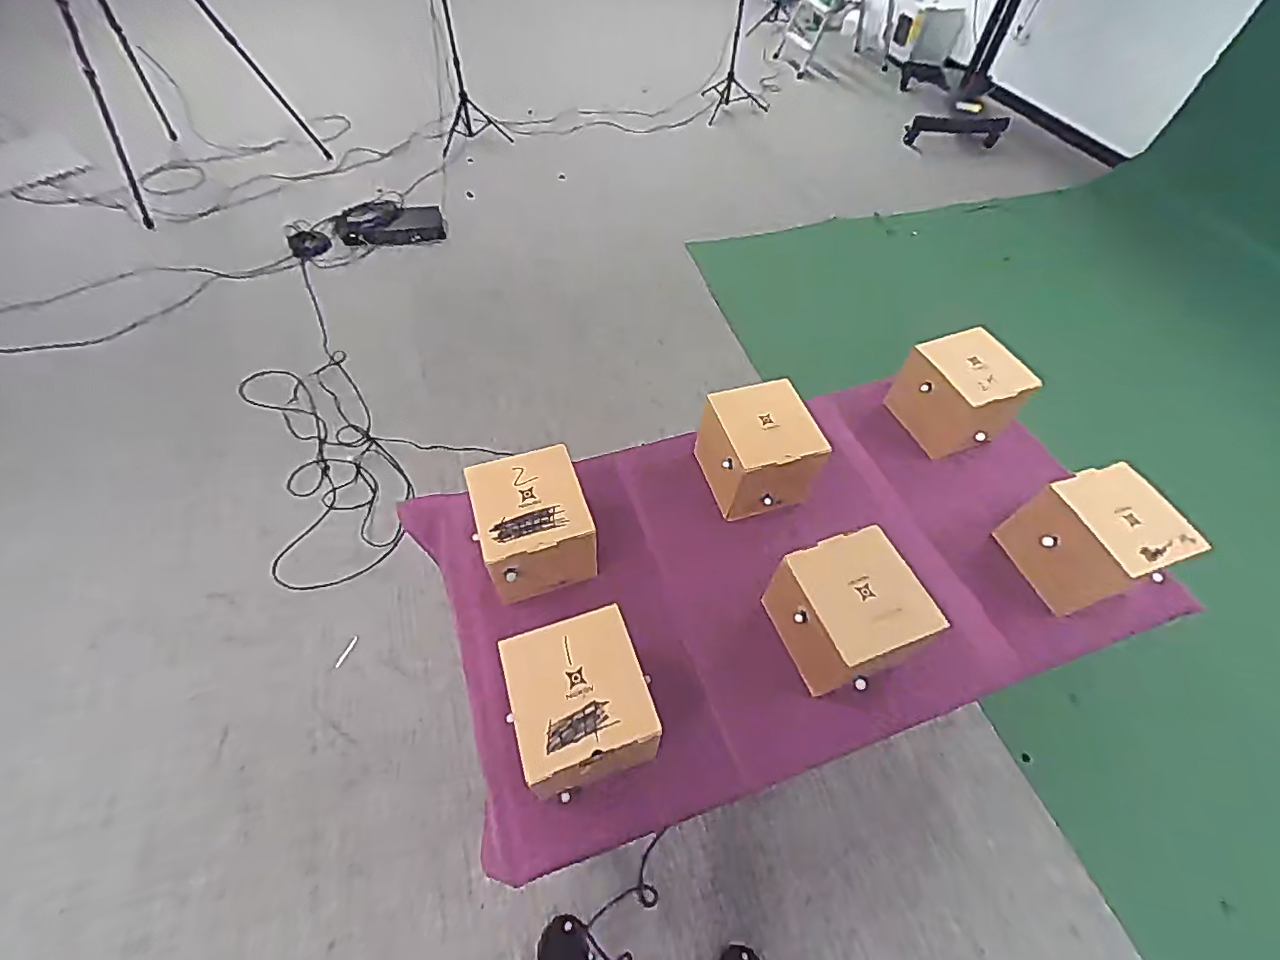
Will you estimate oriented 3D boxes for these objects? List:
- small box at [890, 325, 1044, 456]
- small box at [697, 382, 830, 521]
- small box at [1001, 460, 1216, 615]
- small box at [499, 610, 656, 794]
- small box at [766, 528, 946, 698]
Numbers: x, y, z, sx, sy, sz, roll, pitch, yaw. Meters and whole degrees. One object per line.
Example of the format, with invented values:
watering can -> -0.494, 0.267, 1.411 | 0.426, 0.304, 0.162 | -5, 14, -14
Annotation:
small box -> 0.645, -0.178, 1.097 | 0.168, 0.176, 0.179 | -19, 58, -10
small box -> 0.216, -0.051, 1.007 | 0.168, 0.176, 0.179 | -14, 58, -11
small box -> 0.762, 0.098, 0.907 | 0.168, 0.176, 0.179 | -16, 57, -10
small box -> -0.082, 0.312, 0.747 | 0.168, 0.176, 0.179 | -16, 55, -12
small box -> 0.313, 0.206, 0.829 | 0.168, 0.176, 0.179 | -16, 56, -11
